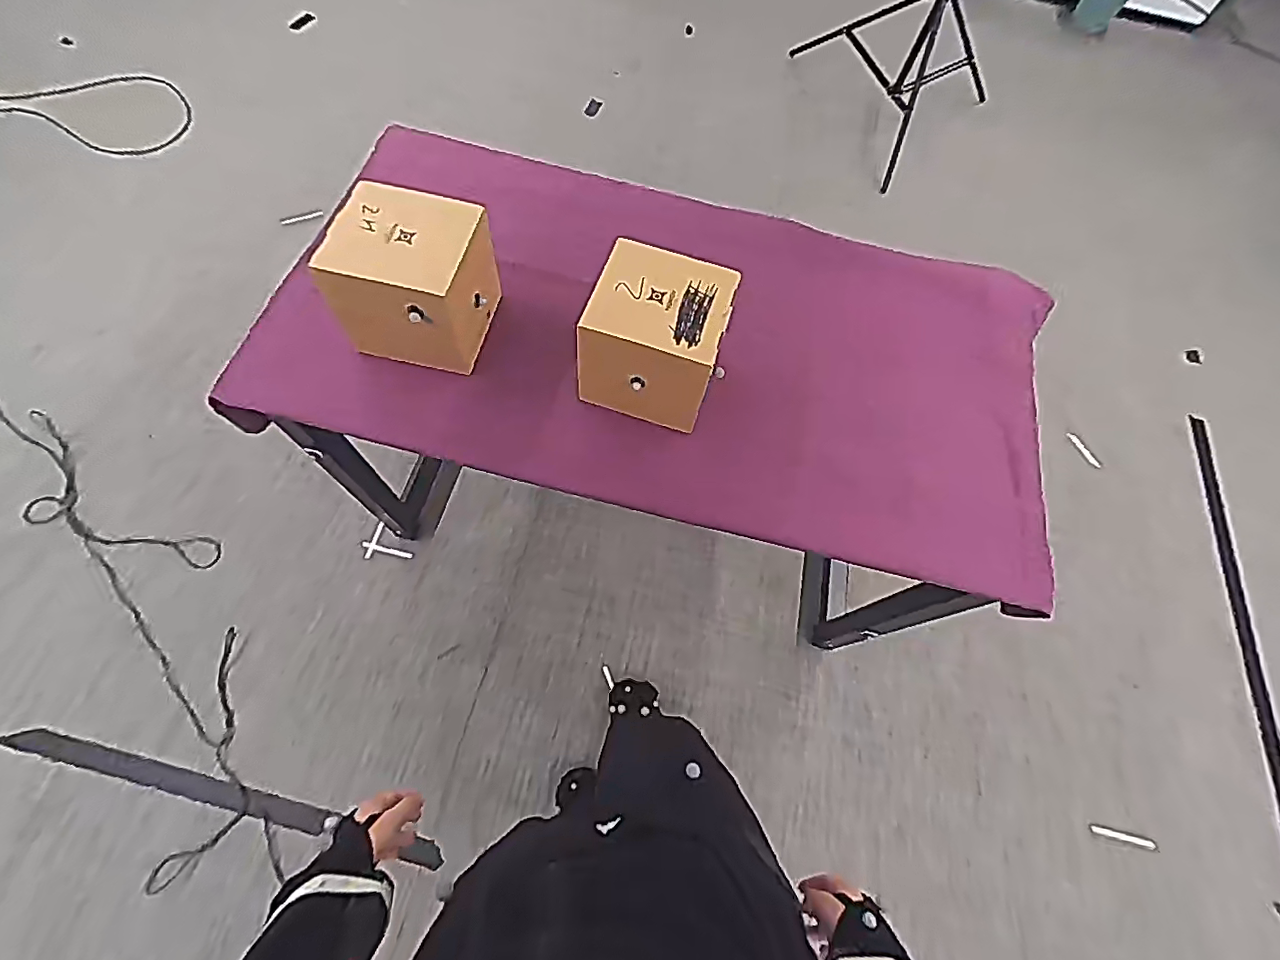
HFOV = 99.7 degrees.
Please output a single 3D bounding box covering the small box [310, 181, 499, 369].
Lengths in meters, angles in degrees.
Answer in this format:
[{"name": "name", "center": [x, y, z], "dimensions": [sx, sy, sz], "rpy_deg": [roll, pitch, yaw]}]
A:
[{"name": "small box", "center": [-0.312, -0.280, 0.766], "dimensions": [0.179, 0.176, 0.168], "rpy_deg": [12, 64, 0]}]
